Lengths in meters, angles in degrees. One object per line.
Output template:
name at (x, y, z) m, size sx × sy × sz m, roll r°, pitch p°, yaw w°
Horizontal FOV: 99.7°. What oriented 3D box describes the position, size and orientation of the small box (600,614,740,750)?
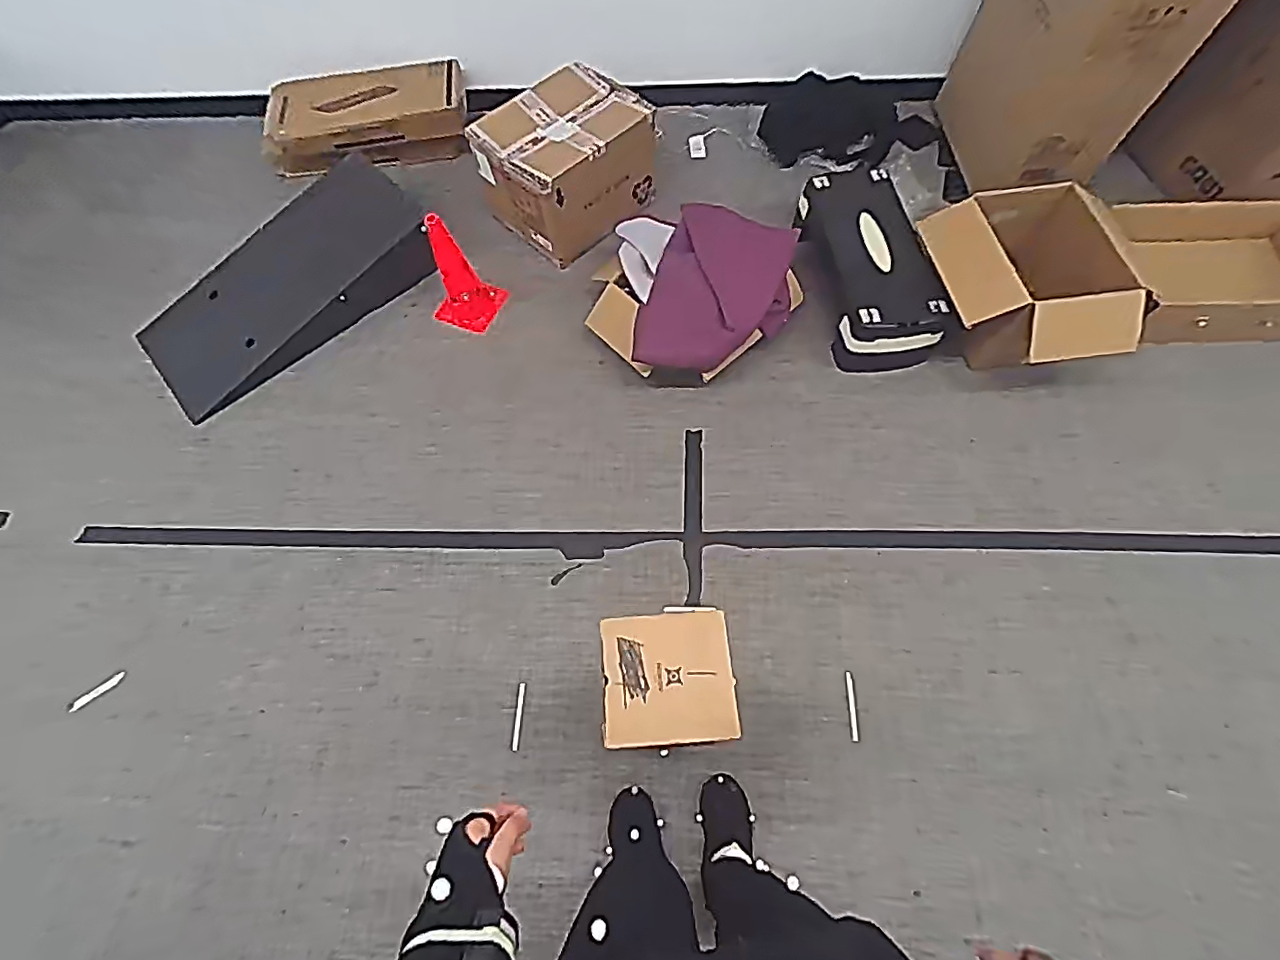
small box at (0.040, 0.299, 0.788) m, size 0.179 × 0.176 × 0.168 m, roll -5°, pitch 65°, yaw 0°
